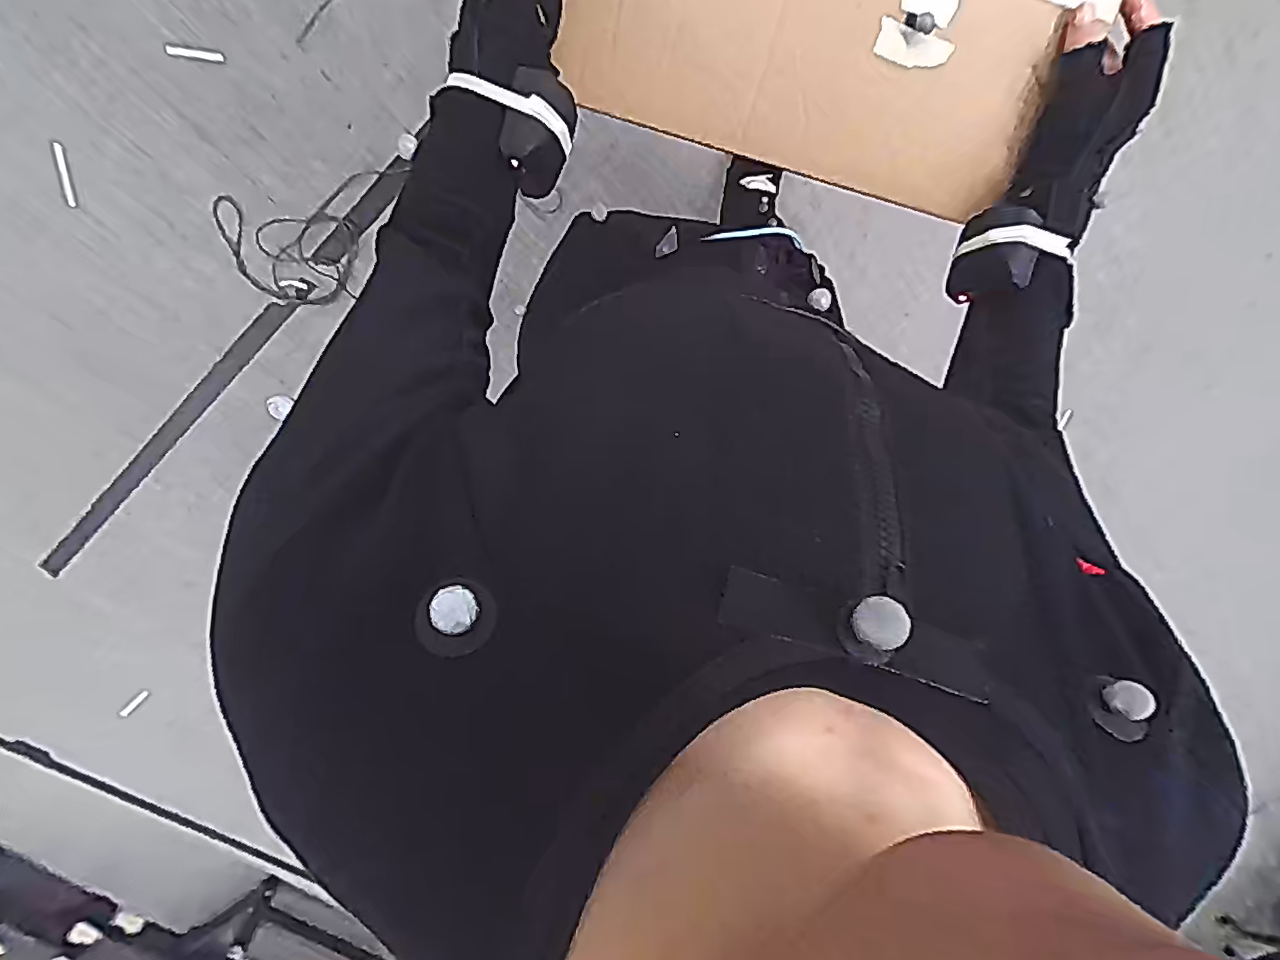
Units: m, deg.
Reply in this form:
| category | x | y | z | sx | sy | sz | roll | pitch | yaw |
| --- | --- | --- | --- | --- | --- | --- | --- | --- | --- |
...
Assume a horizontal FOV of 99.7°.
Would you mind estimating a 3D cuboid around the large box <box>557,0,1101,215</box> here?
| category | x | y | z | sx | sy | sz | roll | pitch | yaw |
| --- | --- | --- | --- | --- | --- | --- | --- | --- | --- |
| large box | 0.156 | -0.486 | 0.507 | 0.408 | 0.320 | 0.320 | 12 | 126 | -8 |
